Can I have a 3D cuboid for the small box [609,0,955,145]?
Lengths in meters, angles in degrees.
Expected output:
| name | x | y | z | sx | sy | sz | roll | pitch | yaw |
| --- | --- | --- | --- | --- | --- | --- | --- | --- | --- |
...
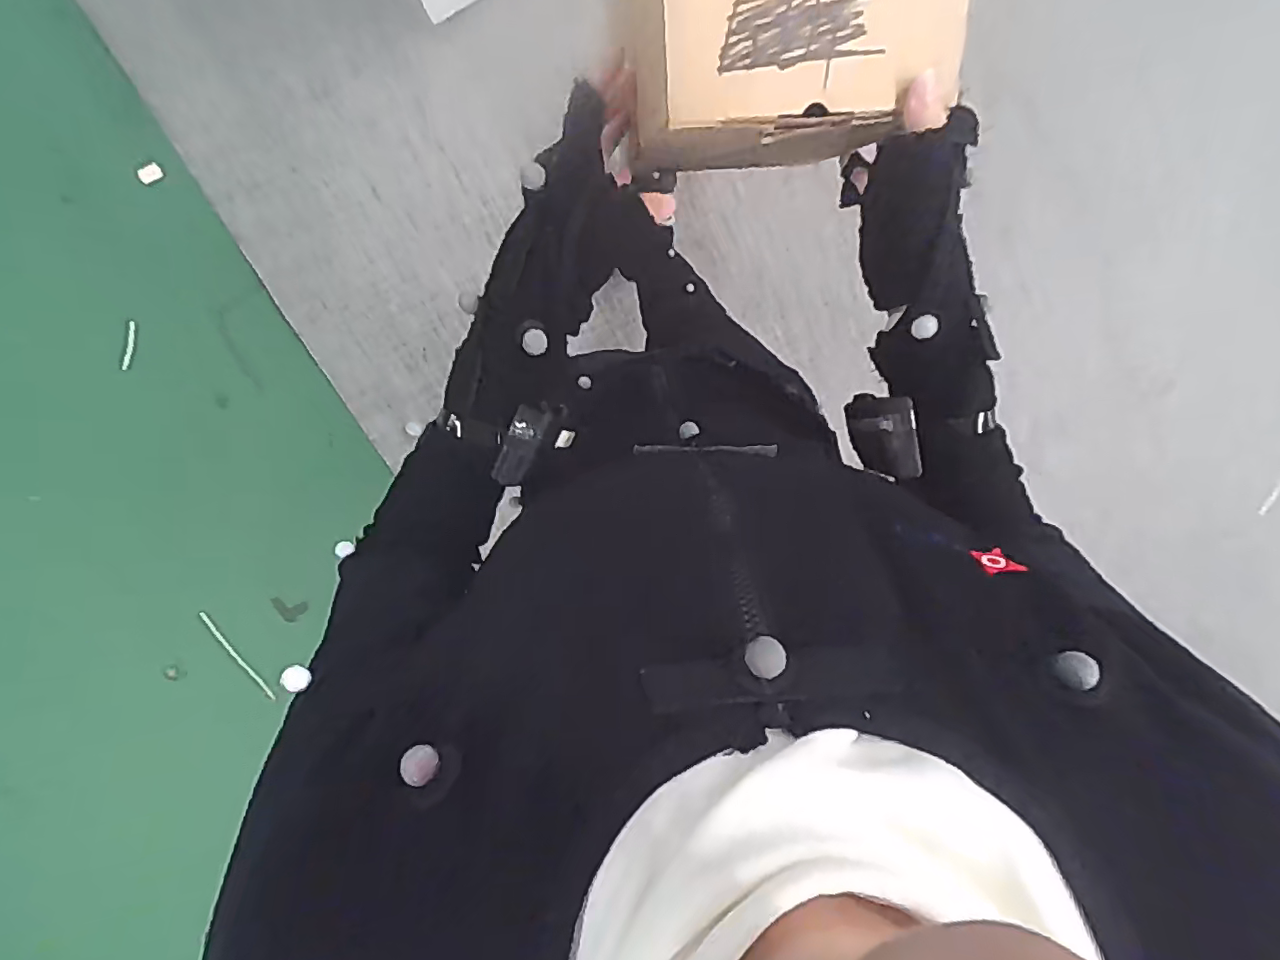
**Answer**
| name | x | y | z | sx | sy | sz | roll | pitch | yaw |
| --- | --- | --- | --- | --- | --- | --- | --- | --- | --- |
| small box | 0.071 | -0.320 | 0.333 | 0.168 | 0.176 | 0.179 | -7 | 112 | -7 |
